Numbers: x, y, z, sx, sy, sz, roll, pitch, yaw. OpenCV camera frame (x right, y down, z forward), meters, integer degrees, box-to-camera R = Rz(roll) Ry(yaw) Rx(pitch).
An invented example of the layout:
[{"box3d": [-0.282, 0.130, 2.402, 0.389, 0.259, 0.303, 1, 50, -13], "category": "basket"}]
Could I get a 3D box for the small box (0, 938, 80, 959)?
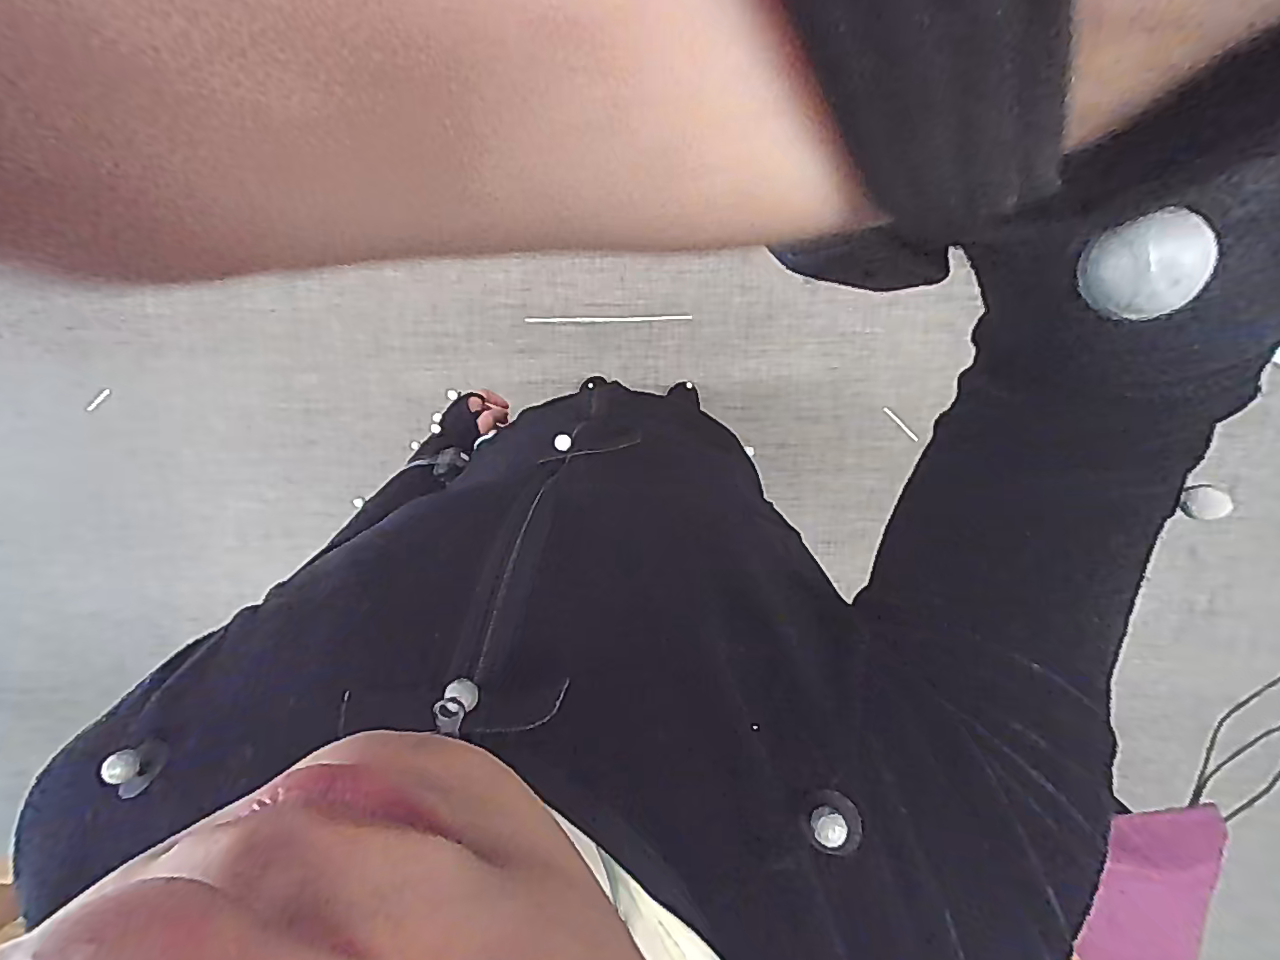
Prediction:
[{"box3d": [-1.405, 1.178, 1.204, 0.168, 0.176, 0.179, 2, 99, -1], "category": "small box"}]
